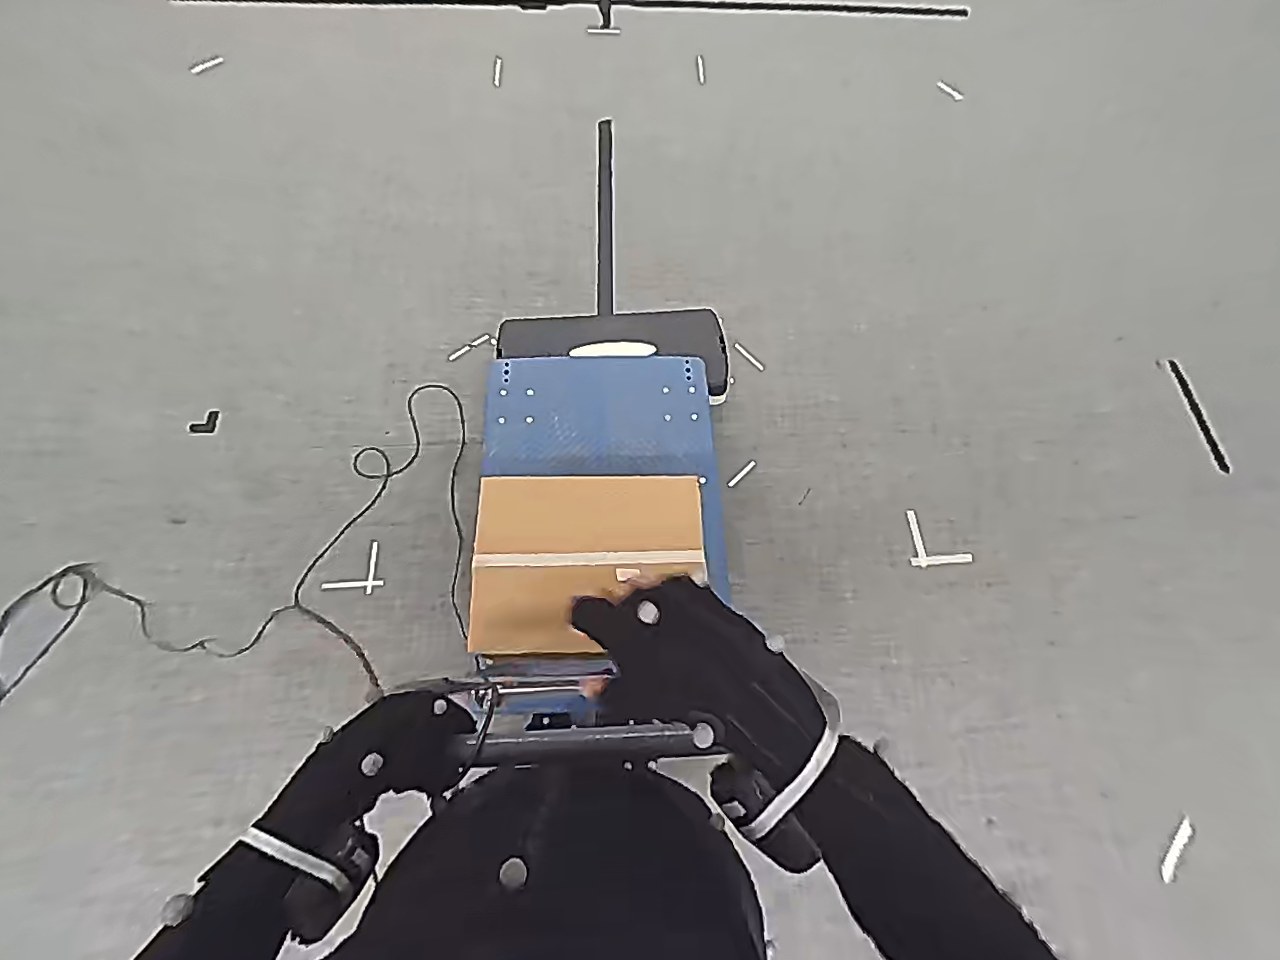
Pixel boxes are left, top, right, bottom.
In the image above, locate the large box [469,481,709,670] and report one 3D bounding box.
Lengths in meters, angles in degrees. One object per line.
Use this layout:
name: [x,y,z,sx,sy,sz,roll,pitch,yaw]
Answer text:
large box: [-0.098,0.201,1.080,0.408,0.320,0.320,0,69,-4]
